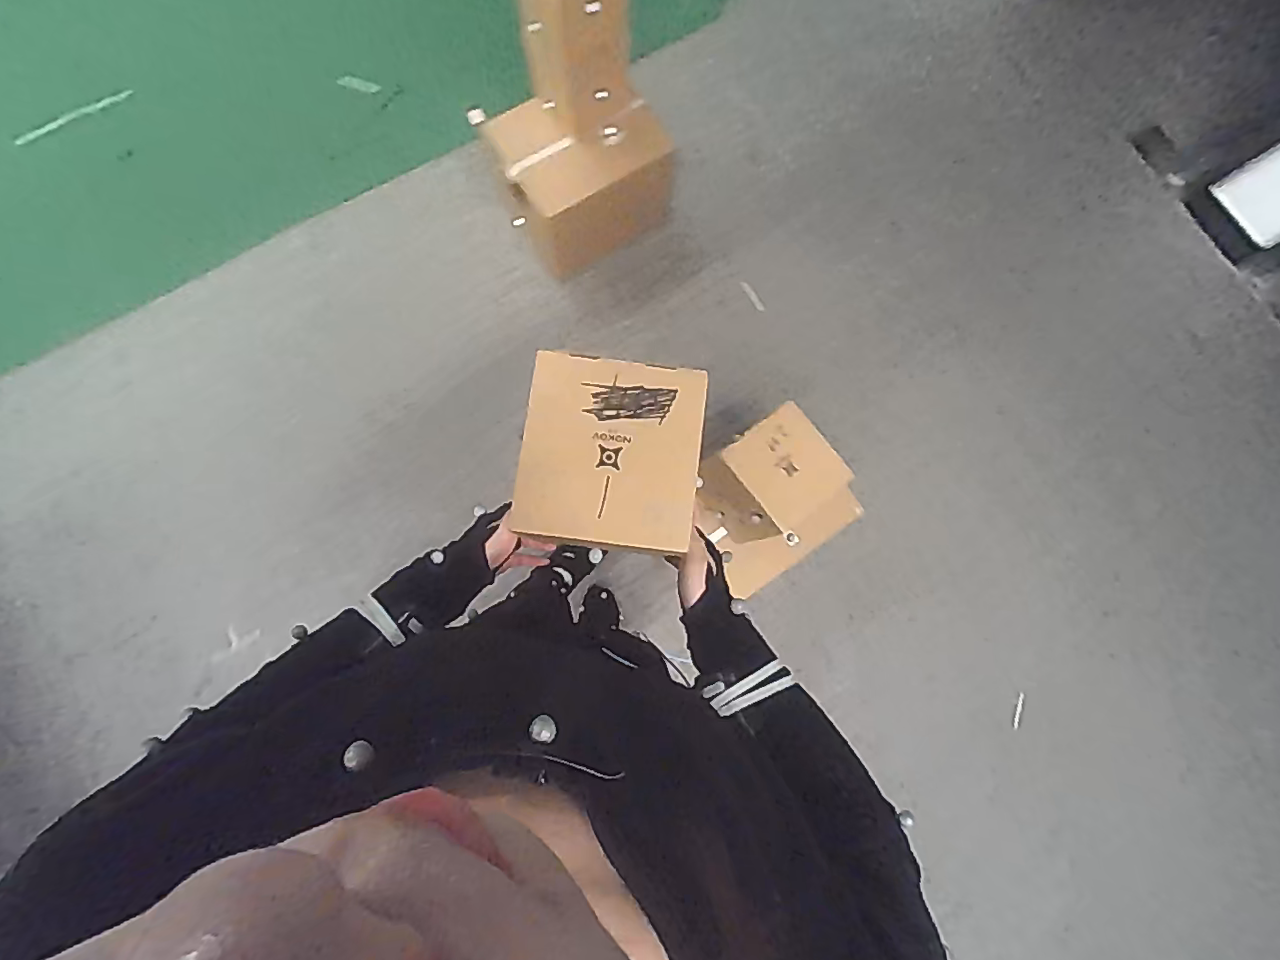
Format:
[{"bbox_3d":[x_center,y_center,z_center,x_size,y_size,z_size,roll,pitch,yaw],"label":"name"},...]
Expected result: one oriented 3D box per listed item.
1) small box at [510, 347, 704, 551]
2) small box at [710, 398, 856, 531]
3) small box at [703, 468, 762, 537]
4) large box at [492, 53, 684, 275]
[{"bbox_3d":[-0.032,-0.021,0.582,0.168,0.176,0.179,6,82,-1],"label":"small box"},{"bbox_3d":[0.254,-0.017,1.003,0.168,0.176,0.179,-36,83,-8],"label":"small box"},{"bbox_3d":[0.251,0.009,1.167,0.179,0.176,0.168,-36,83,-7],"label":"small box"},{"bbox_3d":[-0.139,-0.864,1.518,0.408,0.320,0.320,-32,84,-8],"label":"large box"}]
